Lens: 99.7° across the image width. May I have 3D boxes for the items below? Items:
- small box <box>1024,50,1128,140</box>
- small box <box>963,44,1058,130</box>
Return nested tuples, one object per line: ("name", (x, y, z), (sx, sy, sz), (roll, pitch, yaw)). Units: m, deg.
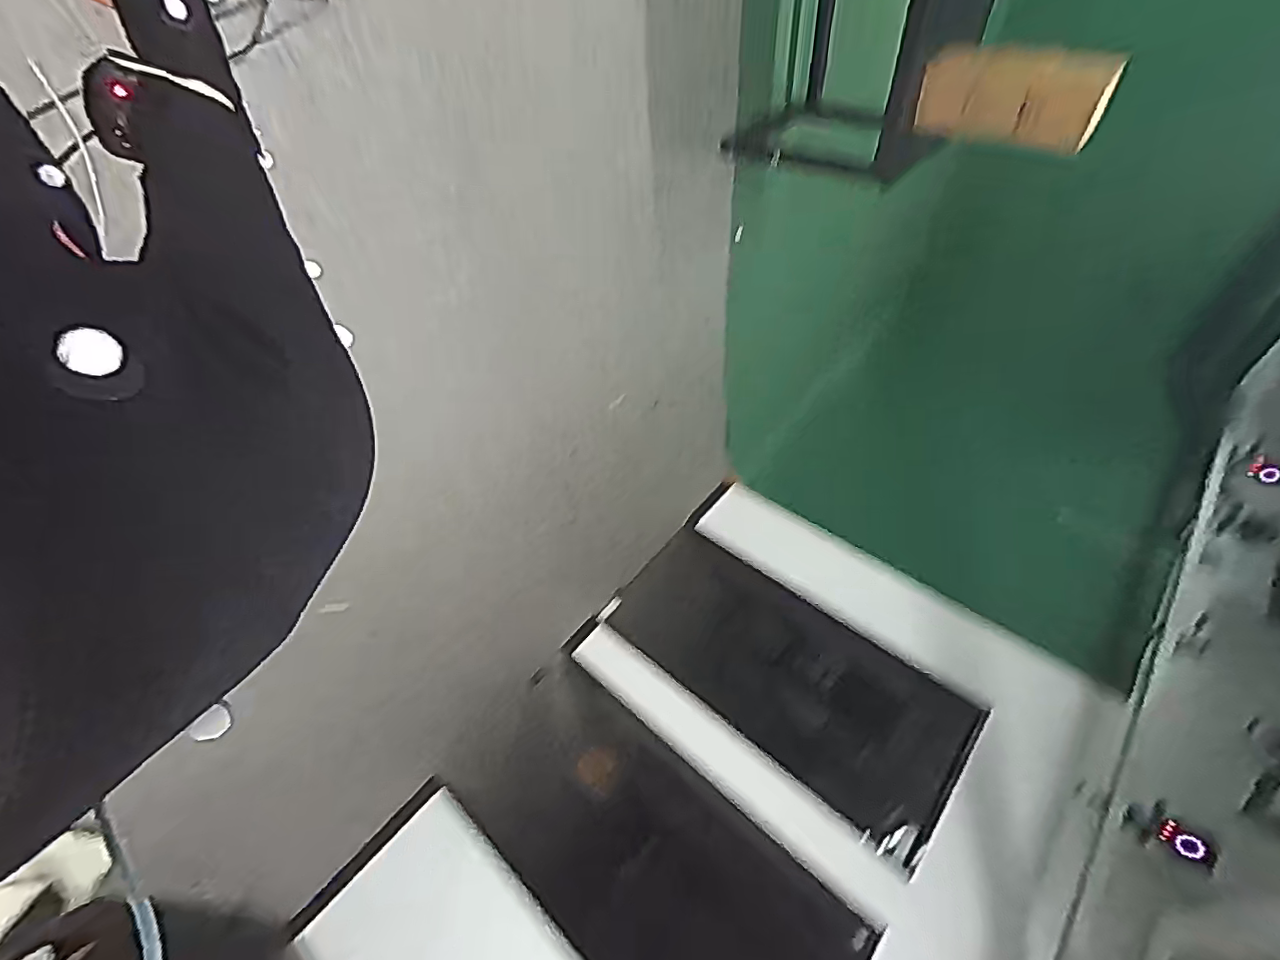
("small box", (1.282, -1.142, 1.601), (0.179, 0.176, 0.168), (-48, 150, -21))
("small box", (1.145, -1.227, 1.682), (0.179, 0.176, 0.168), (-47, 149, -21))
